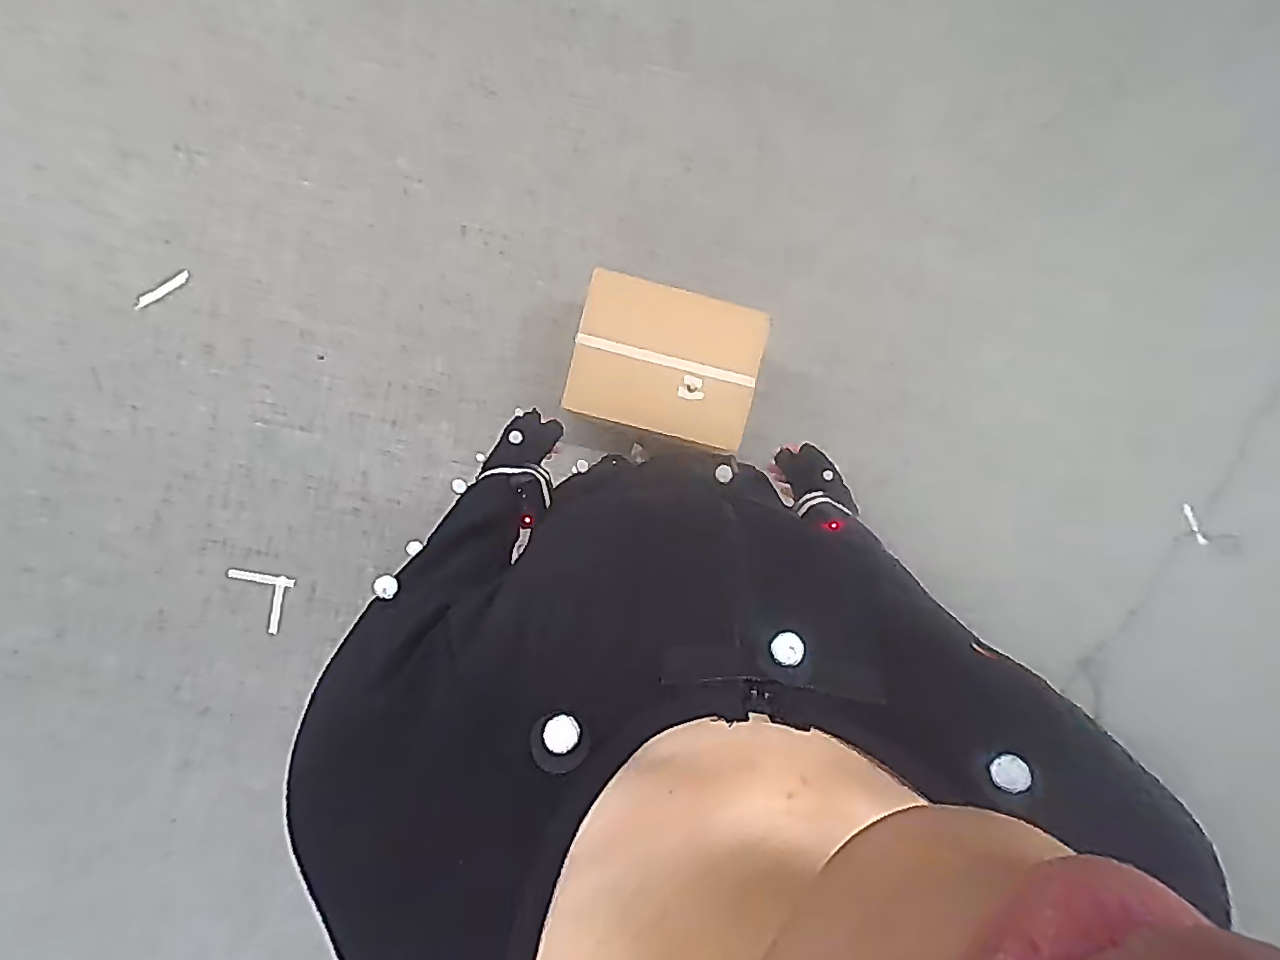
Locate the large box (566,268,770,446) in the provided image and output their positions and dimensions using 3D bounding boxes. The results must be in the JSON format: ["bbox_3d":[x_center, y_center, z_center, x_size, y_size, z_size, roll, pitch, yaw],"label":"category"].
[{"bbox_3d":[0.051,-0.277,1.329,0.408,0.320,0.320,13,93,-4],"label":"large box"}]
